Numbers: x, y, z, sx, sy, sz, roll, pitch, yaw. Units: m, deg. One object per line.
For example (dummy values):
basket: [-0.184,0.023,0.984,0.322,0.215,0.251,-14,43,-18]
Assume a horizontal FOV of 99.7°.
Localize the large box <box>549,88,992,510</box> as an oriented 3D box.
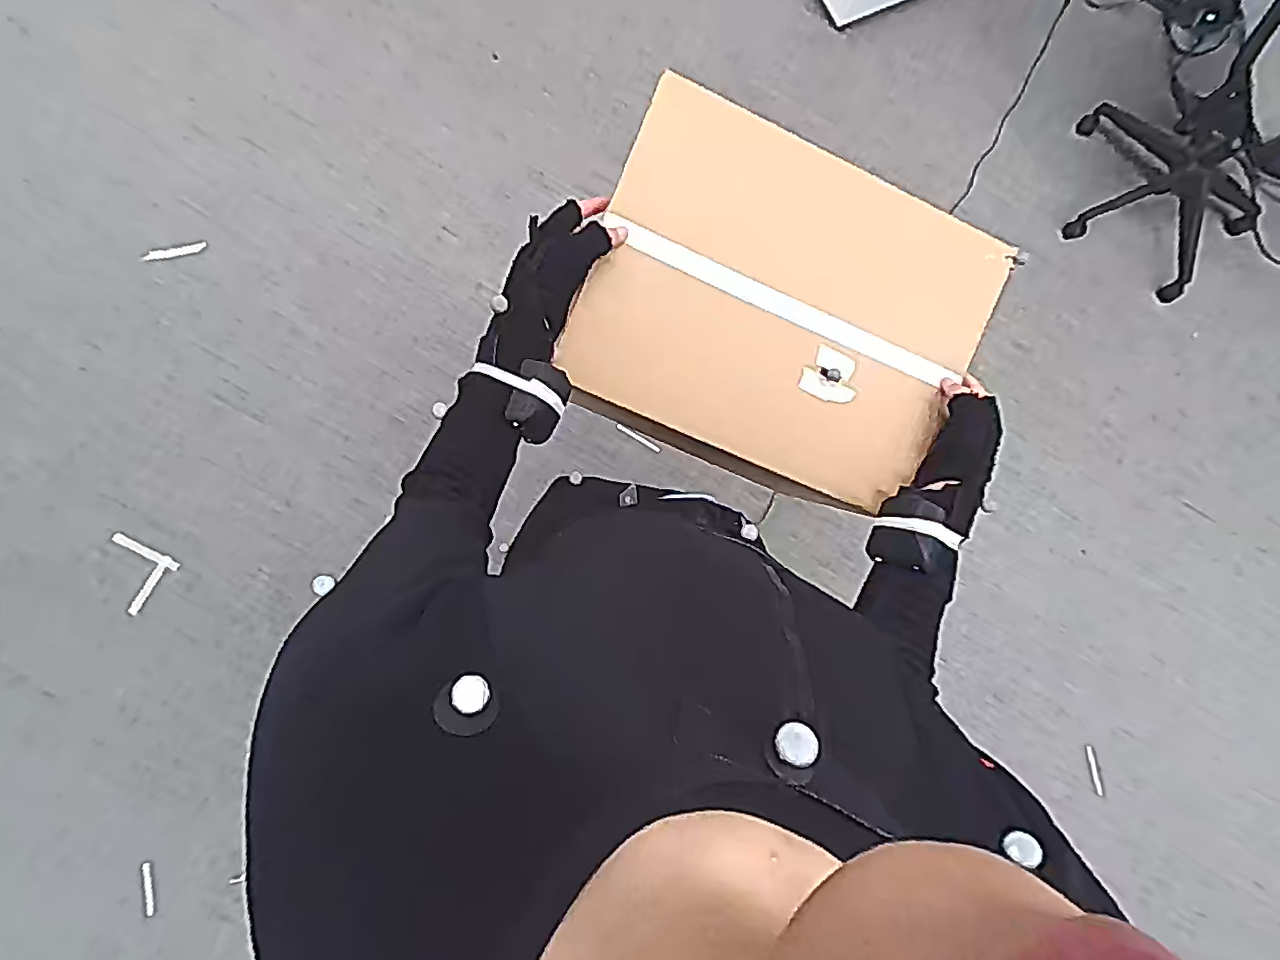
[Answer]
large box: [0.126,-0.190,0.711,0.408,0.320,0.320,23,93,-8]
